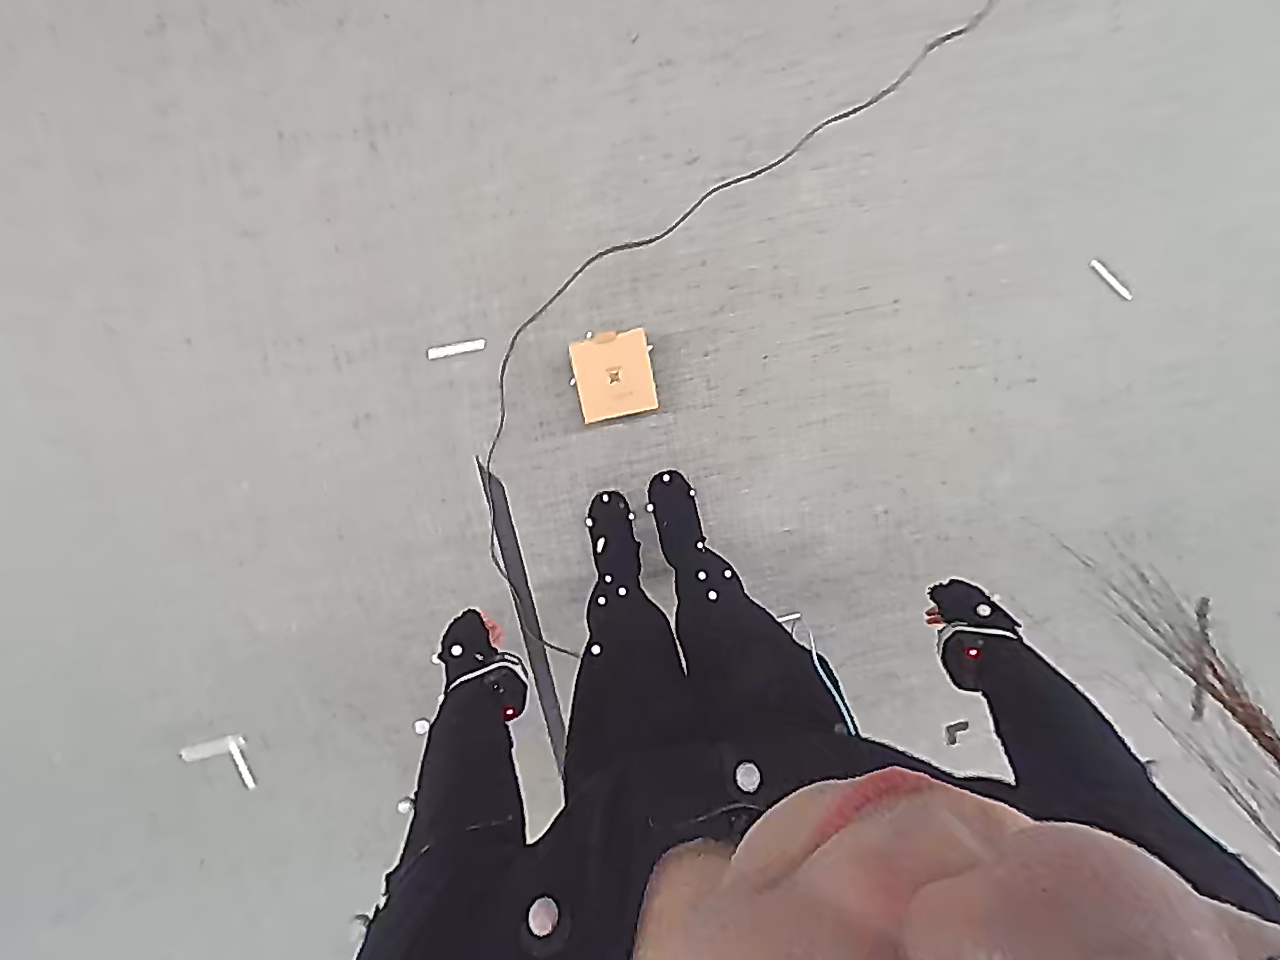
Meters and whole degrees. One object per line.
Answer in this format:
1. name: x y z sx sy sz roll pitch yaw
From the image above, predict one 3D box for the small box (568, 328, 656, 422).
1. small box: -0.064 -0.240 1.241 0.168 0.176 0.179 -12 103 0
